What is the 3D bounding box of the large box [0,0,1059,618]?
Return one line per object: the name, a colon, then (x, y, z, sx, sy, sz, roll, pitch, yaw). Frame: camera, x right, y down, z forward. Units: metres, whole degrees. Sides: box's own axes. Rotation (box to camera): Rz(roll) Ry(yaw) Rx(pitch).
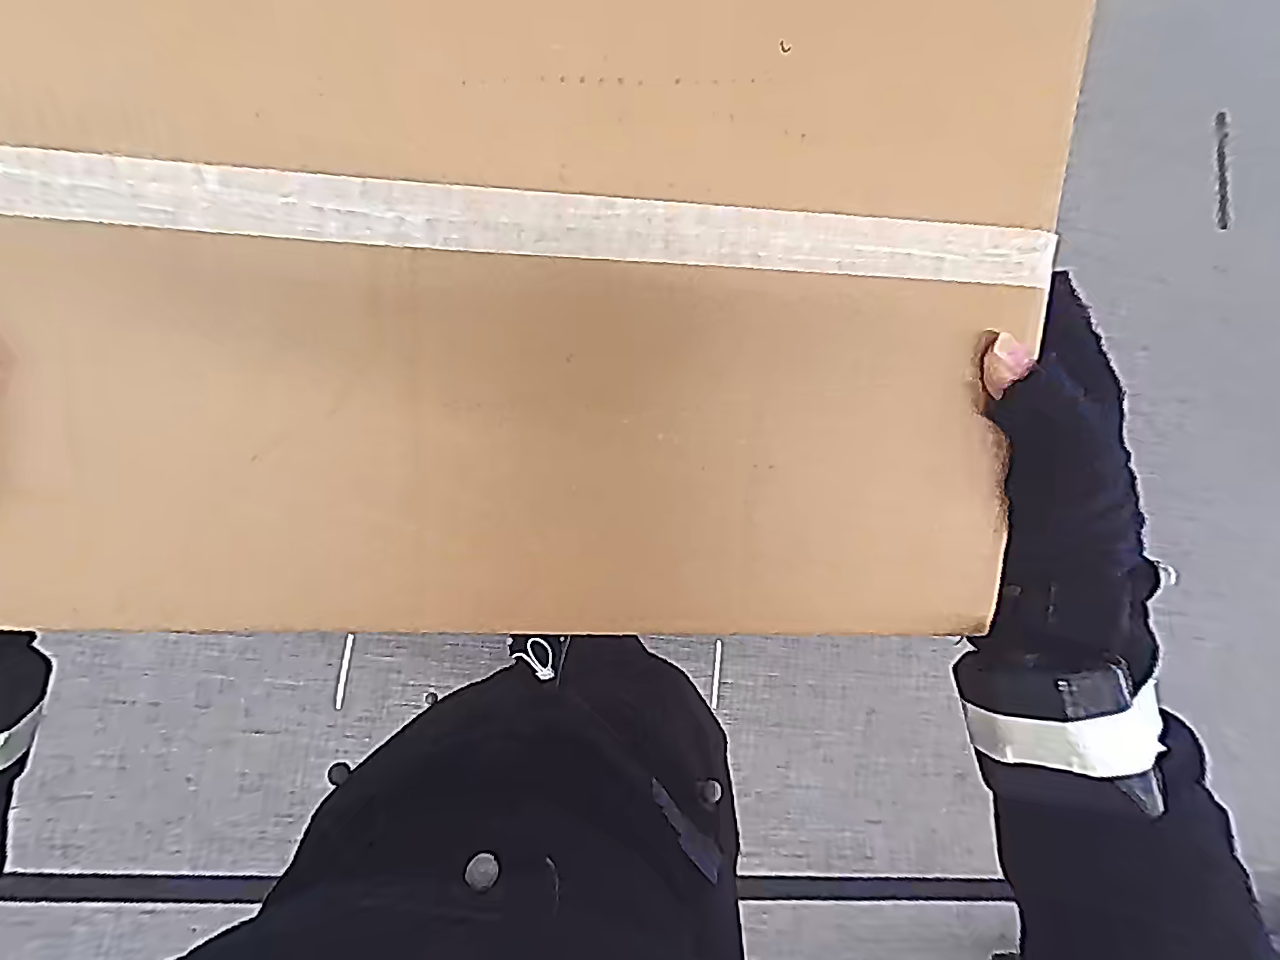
large box: (-0.055, -0.120, 0.352, 0.408, 0.320, 0.320, 3, 99, -6)
